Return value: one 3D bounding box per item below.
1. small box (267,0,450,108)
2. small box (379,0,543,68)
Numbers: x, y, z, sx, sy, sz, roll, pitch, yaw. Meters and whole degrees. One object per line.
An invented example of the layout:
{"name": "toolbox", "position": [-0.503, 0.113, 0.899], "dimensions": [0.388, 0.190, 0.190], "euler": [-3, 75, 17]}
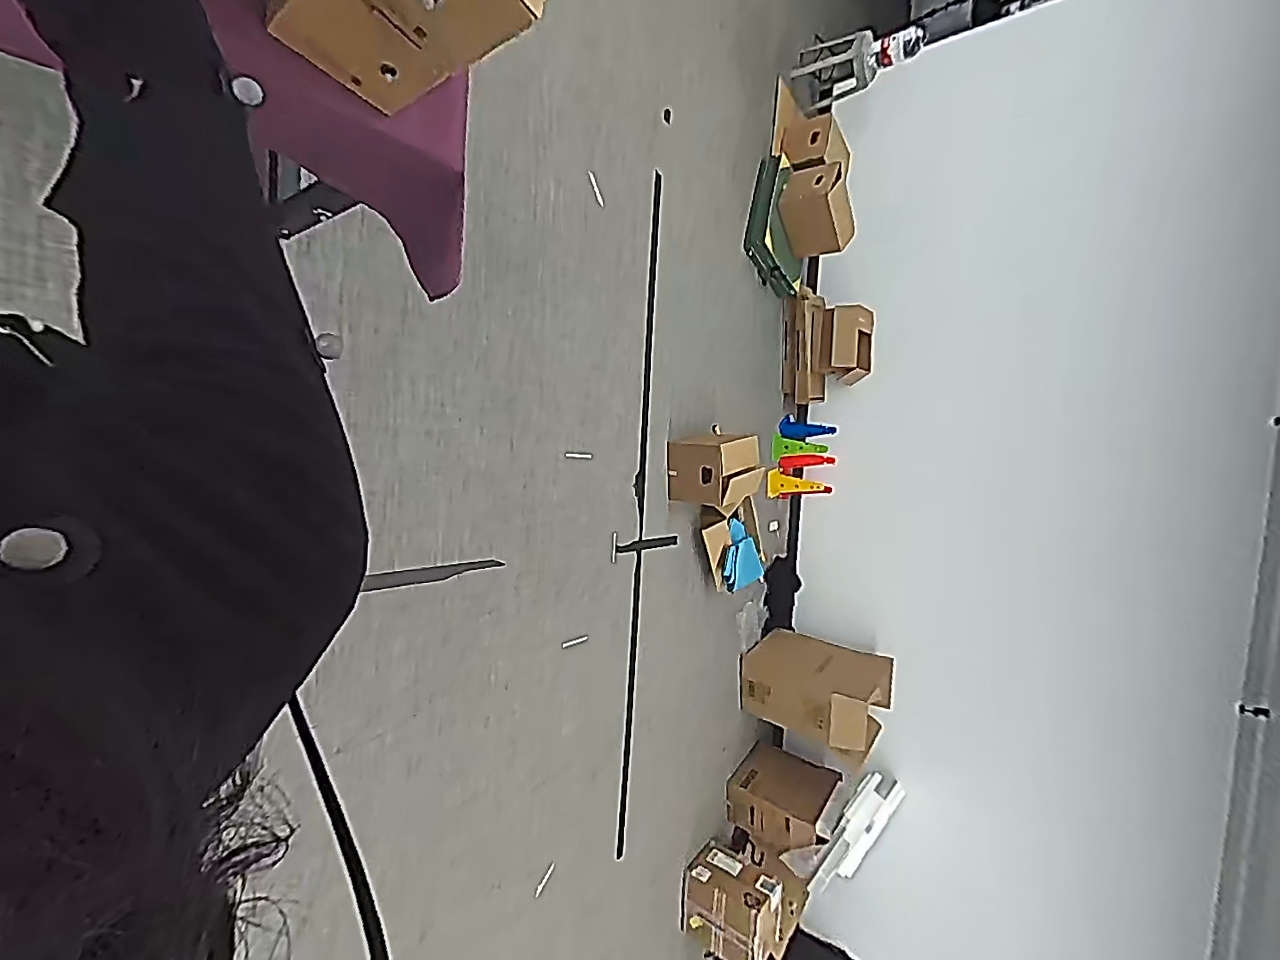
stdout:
{"name": "small box", "position": [-0.351, -0.634, 0.699], "dimensions": [0.168, 0.176, 0.179], "euler": [14, 82, -54]}
{"name": "small box", "position": [-0.213, -0.622, 0.608], "dimensions": [0.168, 0.176, 0.179], "euler": [20, 79, -54]}
